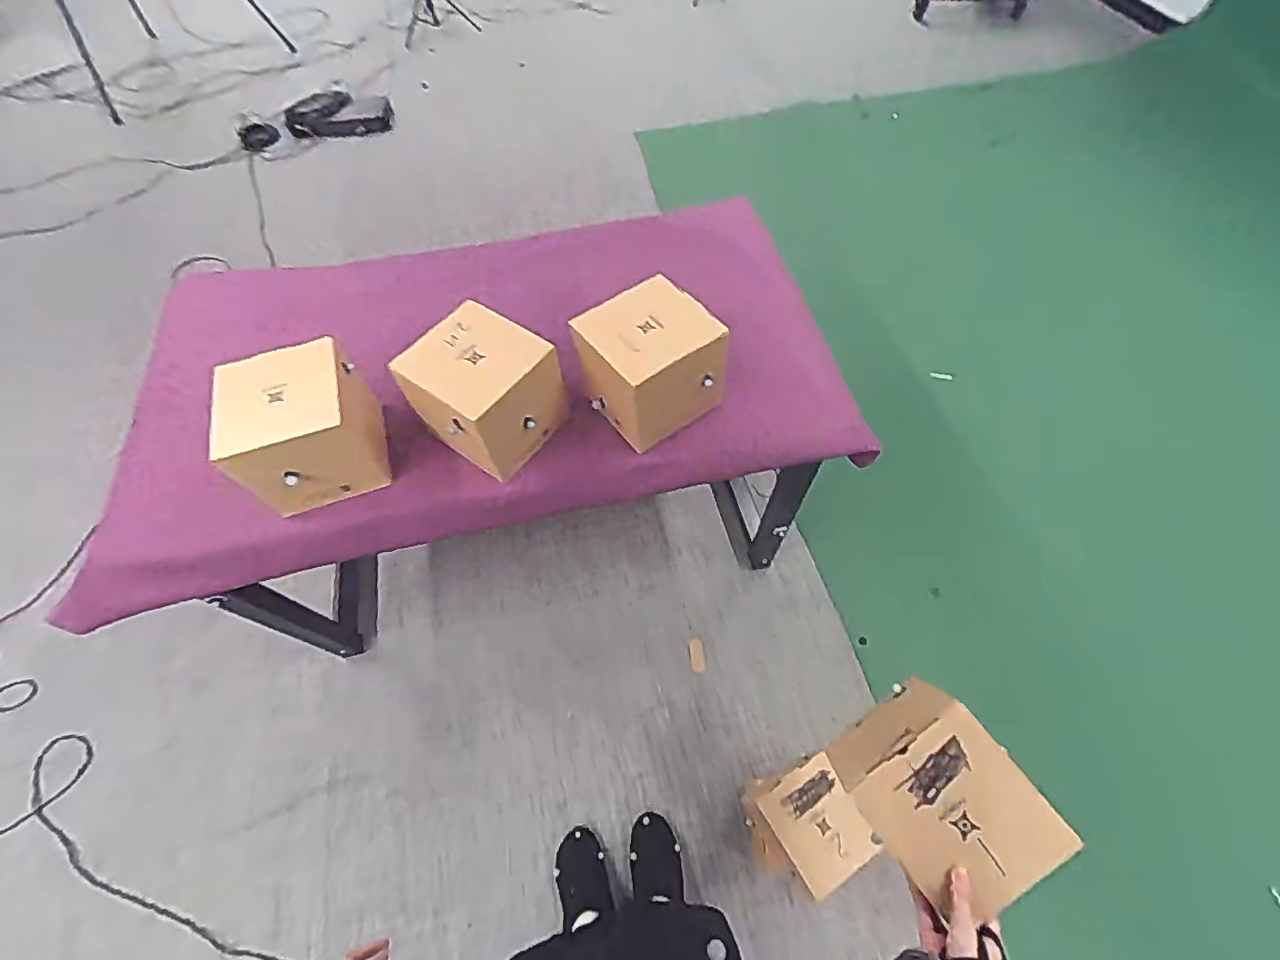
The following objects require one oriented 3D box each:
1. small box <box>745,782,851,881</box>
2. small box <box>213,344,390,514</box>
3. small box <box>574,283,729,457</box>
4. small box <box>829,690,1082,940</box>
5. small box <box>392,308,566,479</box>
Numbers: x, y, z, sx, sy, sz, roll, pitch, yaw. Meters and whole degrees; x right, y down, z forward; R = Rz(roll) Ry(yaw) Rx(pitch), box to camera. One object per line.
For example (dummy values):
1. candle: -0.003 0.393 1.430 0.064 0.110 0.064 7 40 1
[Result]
1. small box: 0.326 0.750 1.162 0.179 0.176 0.168 -3 60 0
2. small box: -0.496 -0.067 0.813 0.168 0.176 0.179 -18 59 -9
3. small box: 0.017 -0.172 0.863 0.179 0.176 0.168 -33 62 -16
4. small box: 0.357 0.379 0.656 0.168 0.176 0.179 -39 76 2
5. small box: -0.235 -0.125 0.839 0.179 0.176 0.168 32 64 19
